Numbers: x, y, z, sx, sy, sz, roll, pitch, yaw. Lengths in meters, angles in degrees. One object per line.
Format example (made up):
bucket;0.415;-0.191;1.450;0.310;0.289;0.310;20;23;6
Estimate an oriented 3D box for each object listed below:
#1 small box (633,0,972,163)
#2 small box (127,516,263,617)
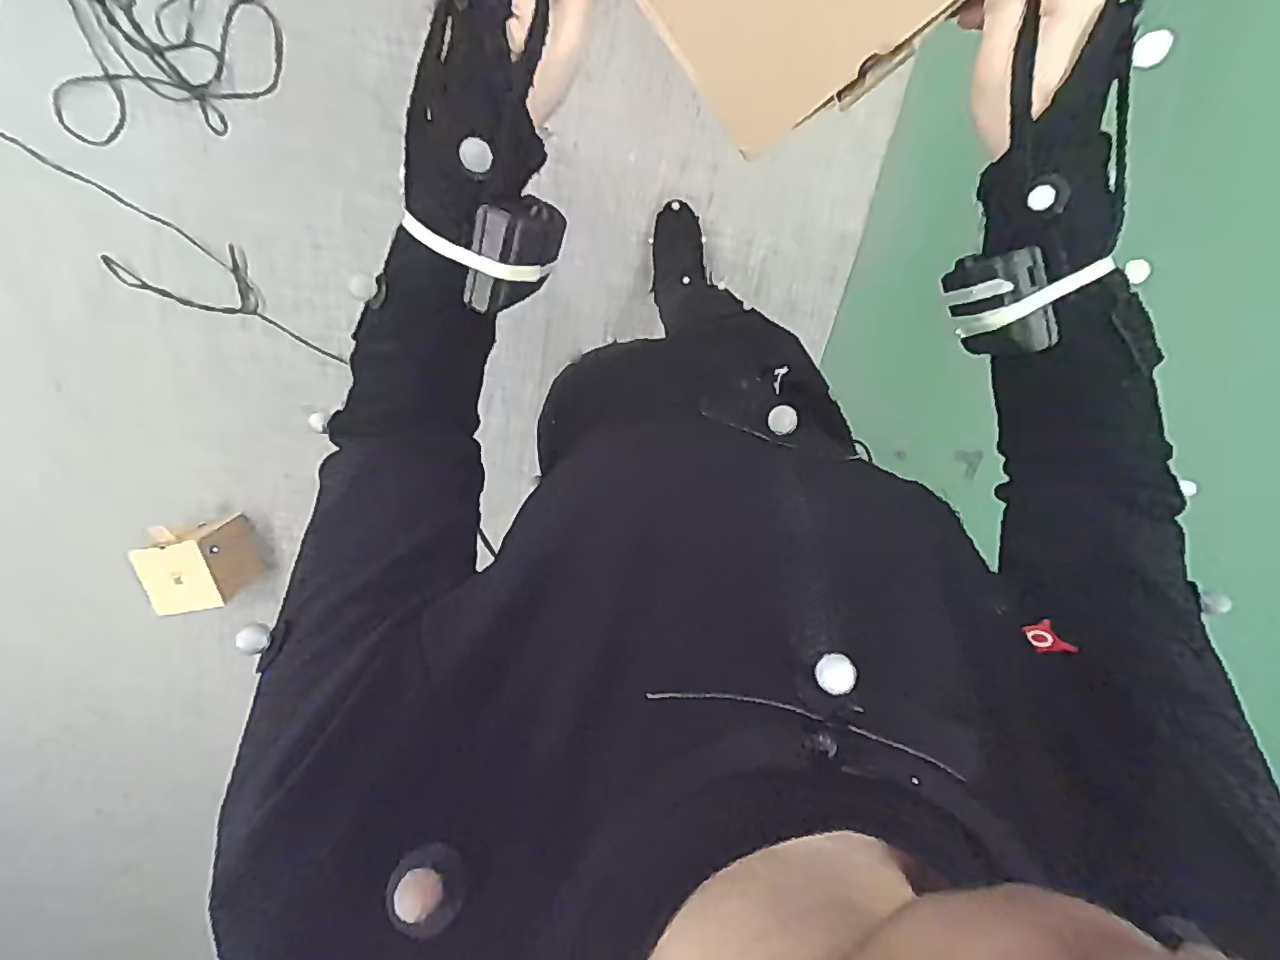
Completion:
small box;0.084;-0.341;0.306;0.168;0.176;0.179;-25;138;38
small box;-1.073;0.208;1.323;0.168;0.176;0.179;-9;108;1
